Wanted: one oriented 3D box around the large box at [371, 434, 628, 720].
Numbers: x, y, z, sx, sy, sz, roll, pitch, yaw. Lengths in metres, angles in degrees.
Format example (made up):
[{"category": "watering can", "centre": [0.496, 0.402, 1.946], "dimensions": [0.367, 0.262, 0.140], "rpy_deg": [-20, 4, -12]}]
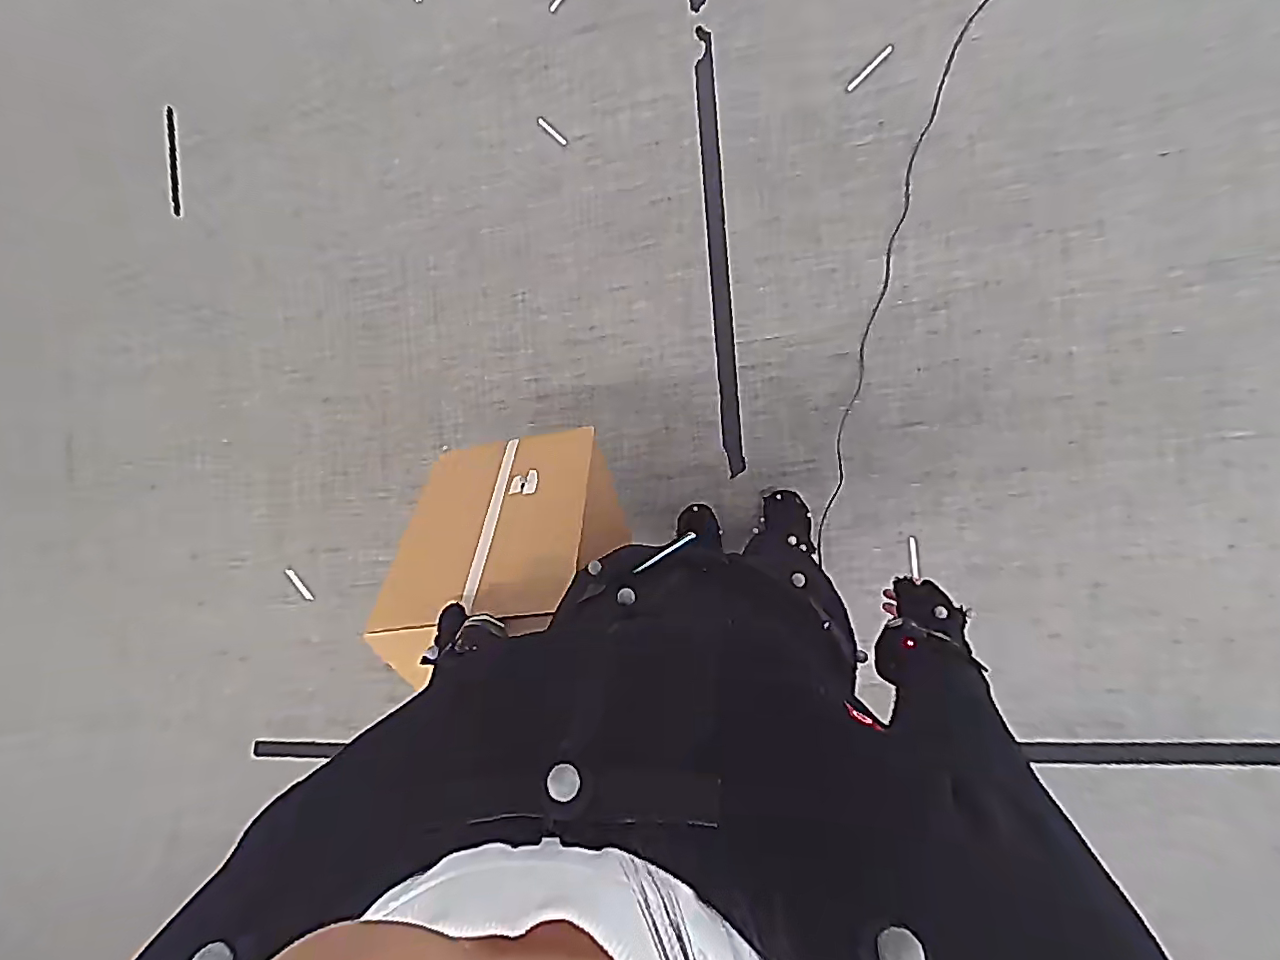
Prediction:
[{"category": "large box", "centre": [-0.209, 0.174, 1.002], "dimensions": [0.320, 0.408, 0.320], "rpy_deg": [-7, 131, 9]}]
